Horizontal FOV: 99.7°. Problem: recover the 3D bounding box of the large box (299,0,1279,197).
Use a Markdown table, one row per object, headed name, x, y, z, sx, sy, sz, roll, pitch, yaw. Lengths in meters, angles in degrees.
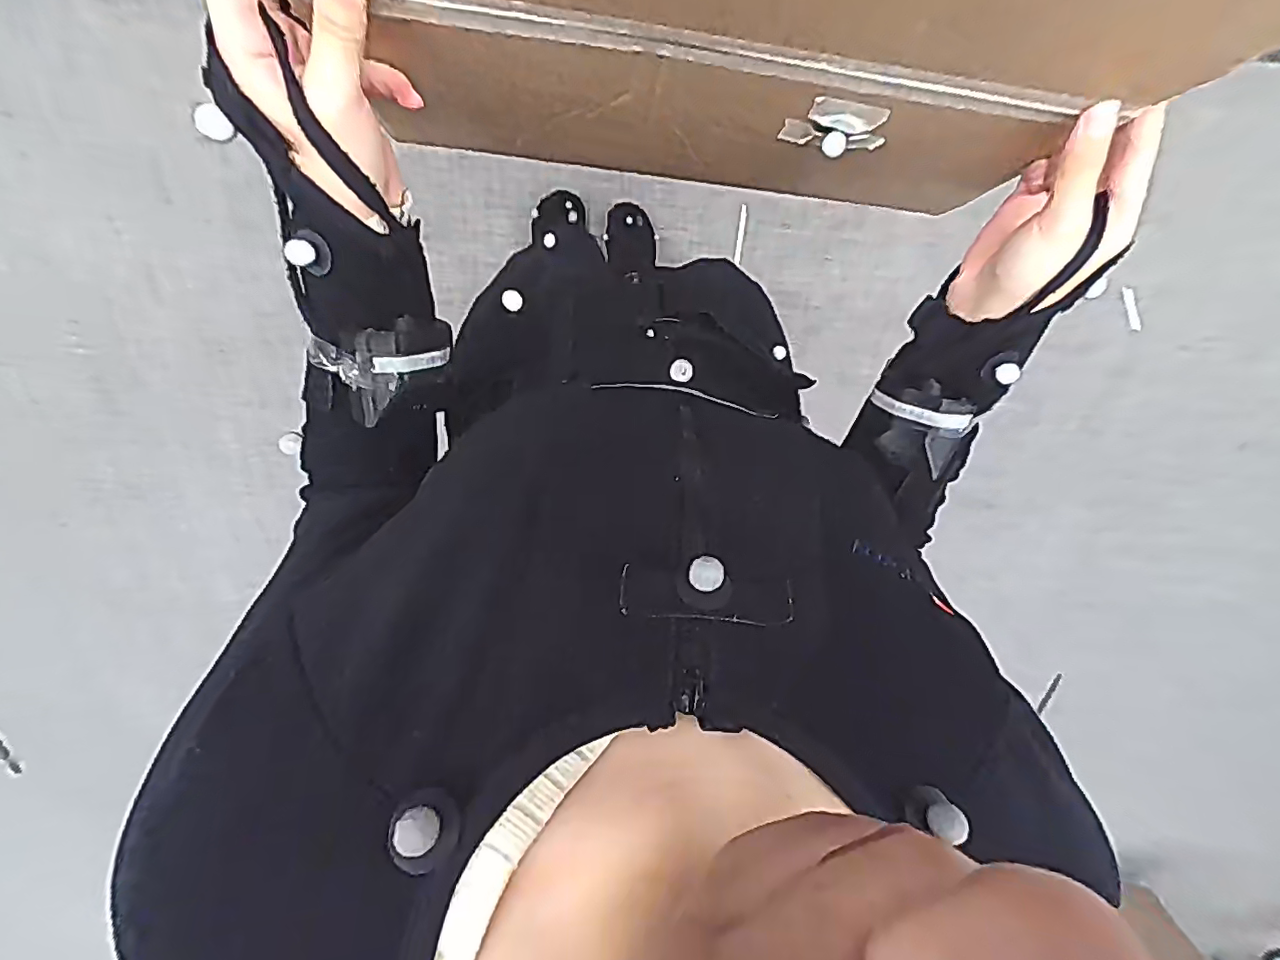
| name | x | y | z | sx | sy | sz | roll | pitch | yaw |
| --- | --- | --- | --- | --- | --- | --- | --- | --- | --- |
| large box | 0.053 | -0.351 | 0.225 | 0.408 | 0.320 | 0.320 | 3 | 101 | -6 |
